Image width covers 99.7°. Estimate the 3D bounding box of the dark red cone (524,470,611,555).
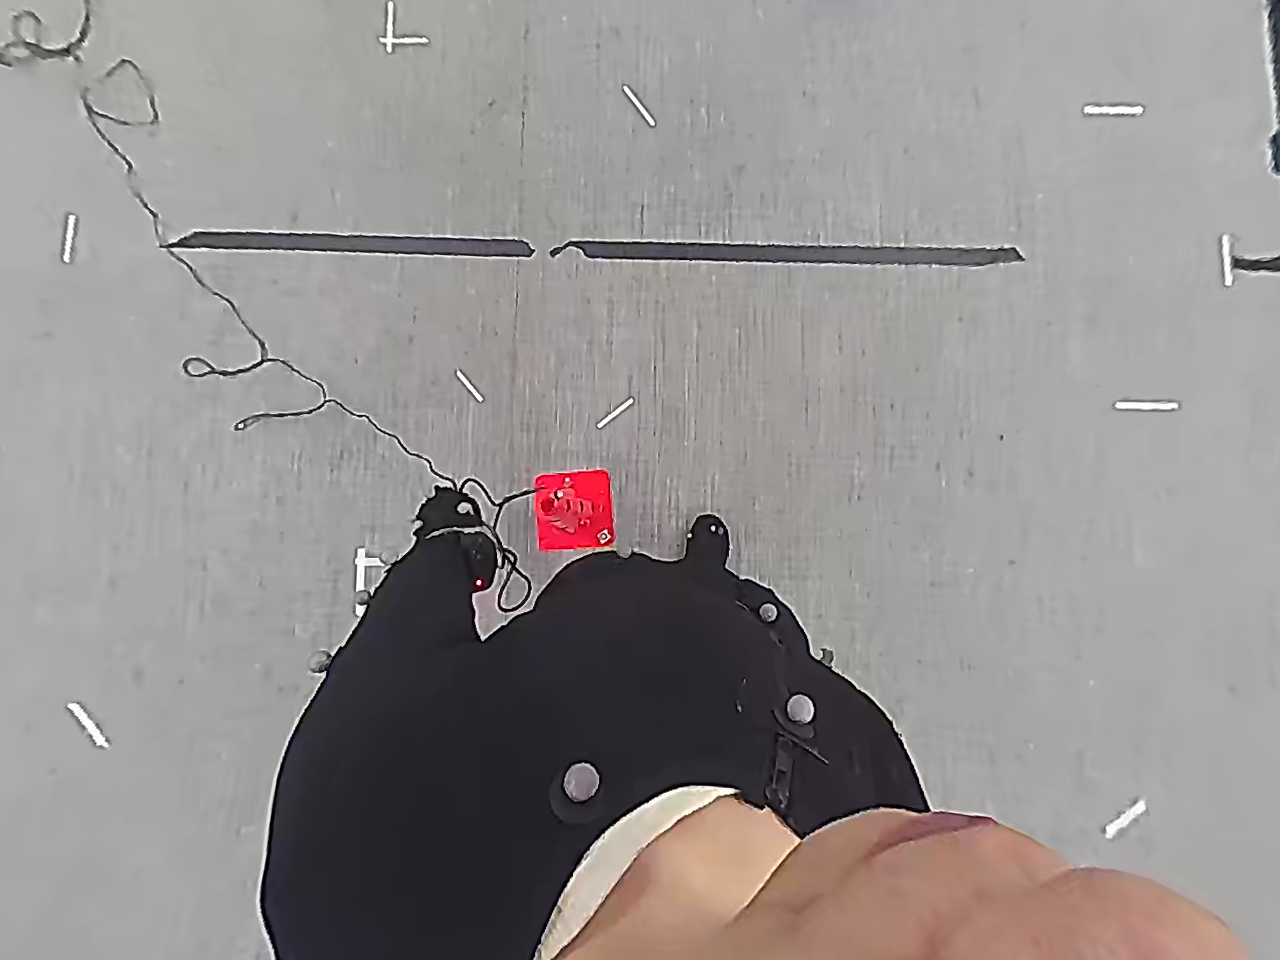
[{"bbox_3d":[-0.183,0.063,1.192,0.202,0.394,0.201,-6,84,1],"label":"dark red cone"}]
